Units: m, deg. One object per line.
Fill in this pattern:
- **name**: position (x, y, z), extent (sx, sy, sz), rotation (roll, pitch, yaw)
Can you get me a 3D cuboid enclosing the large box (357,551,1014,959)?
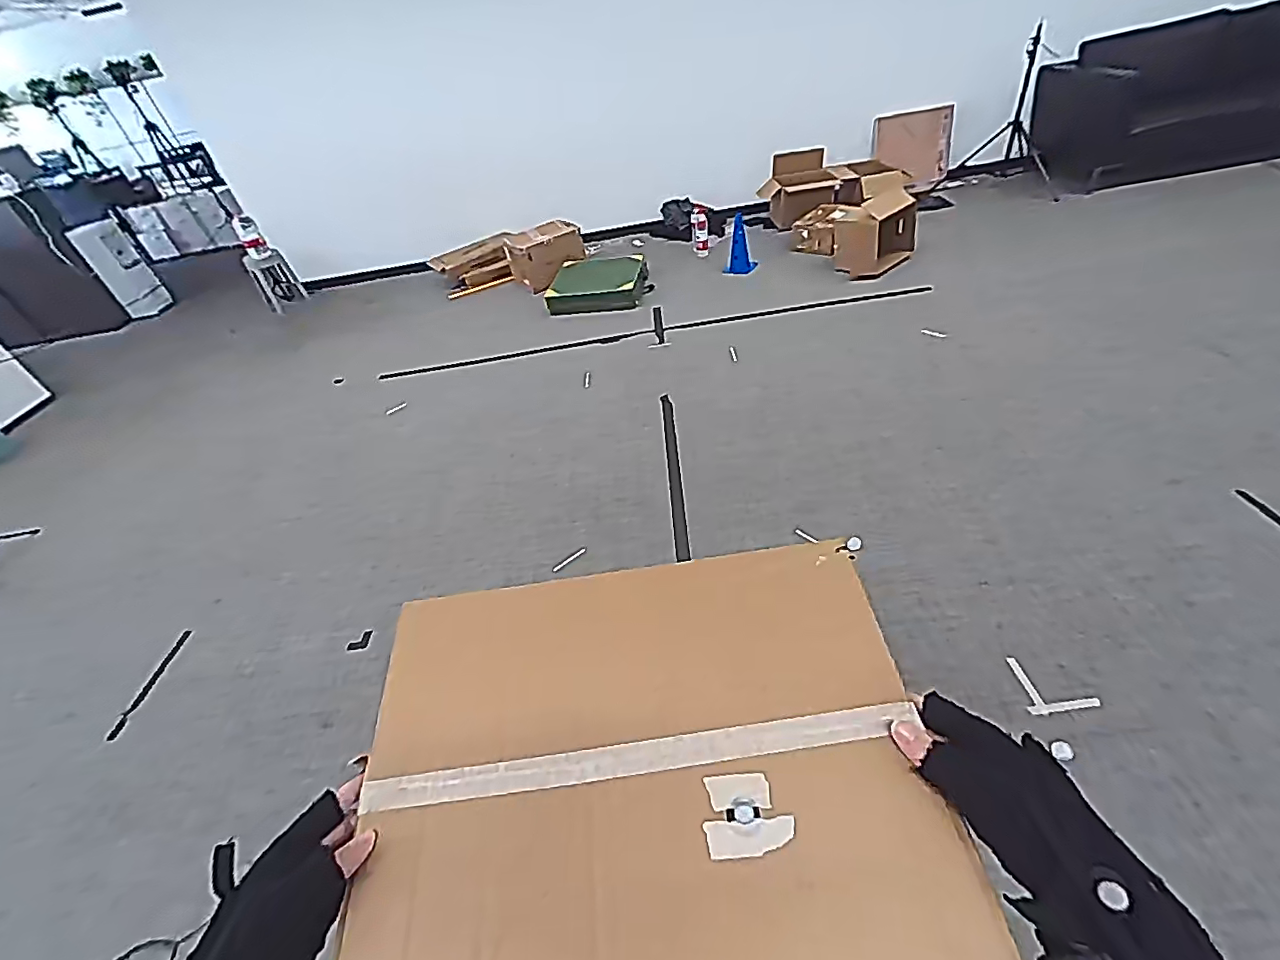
- **large box**: position (0.019, 0.306, 0.513), extent (0.408, 0.320, 0.320), rotation (-9, 50, 0)
